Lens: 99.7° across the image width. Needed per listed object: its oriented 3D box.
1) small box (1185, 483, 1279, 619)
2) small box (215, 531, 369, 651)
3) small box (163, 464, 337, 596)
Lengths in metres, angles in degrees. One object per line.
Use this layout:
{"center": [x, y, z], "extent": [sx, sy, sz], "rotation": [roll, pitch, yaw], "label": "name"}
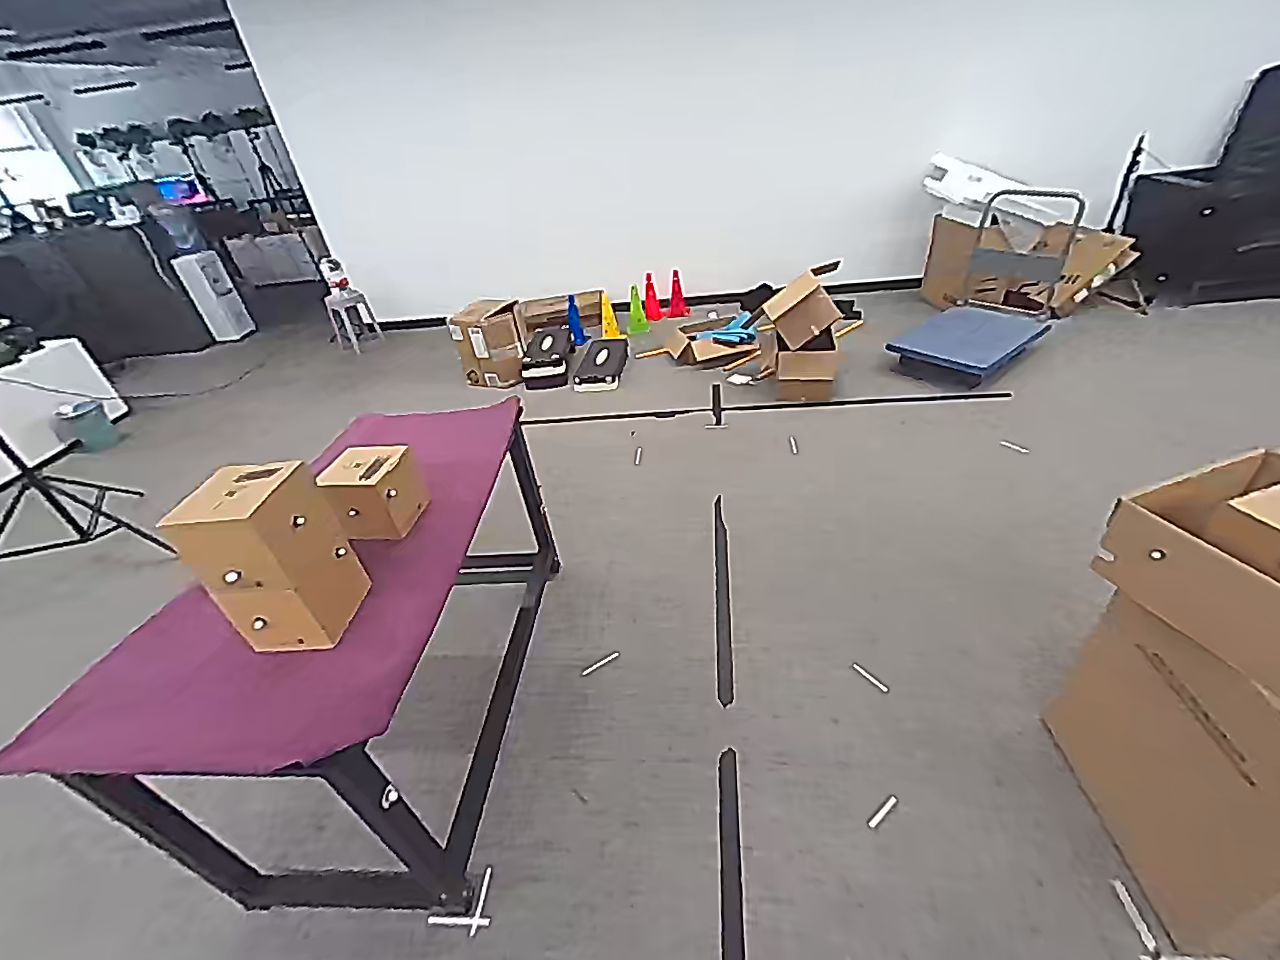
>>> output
{"center": [1.173, 0.132, 0.980], "extent": [0.168, 0.176, 0.179], "rotation": [-15, 35, -8], "label": "small box"}
{"center": [-0.679, 0.226, 1.084], "extent": [0.168, 0.176, 0.179], "rotation": [-5, 34, 5], "label": "small box"}
{"center": [-0.692, 0.091, 0.992], "extent": [0.168, 0.176, 0.179], "rotation": [-5, 35, 5], "label": "small box"}
